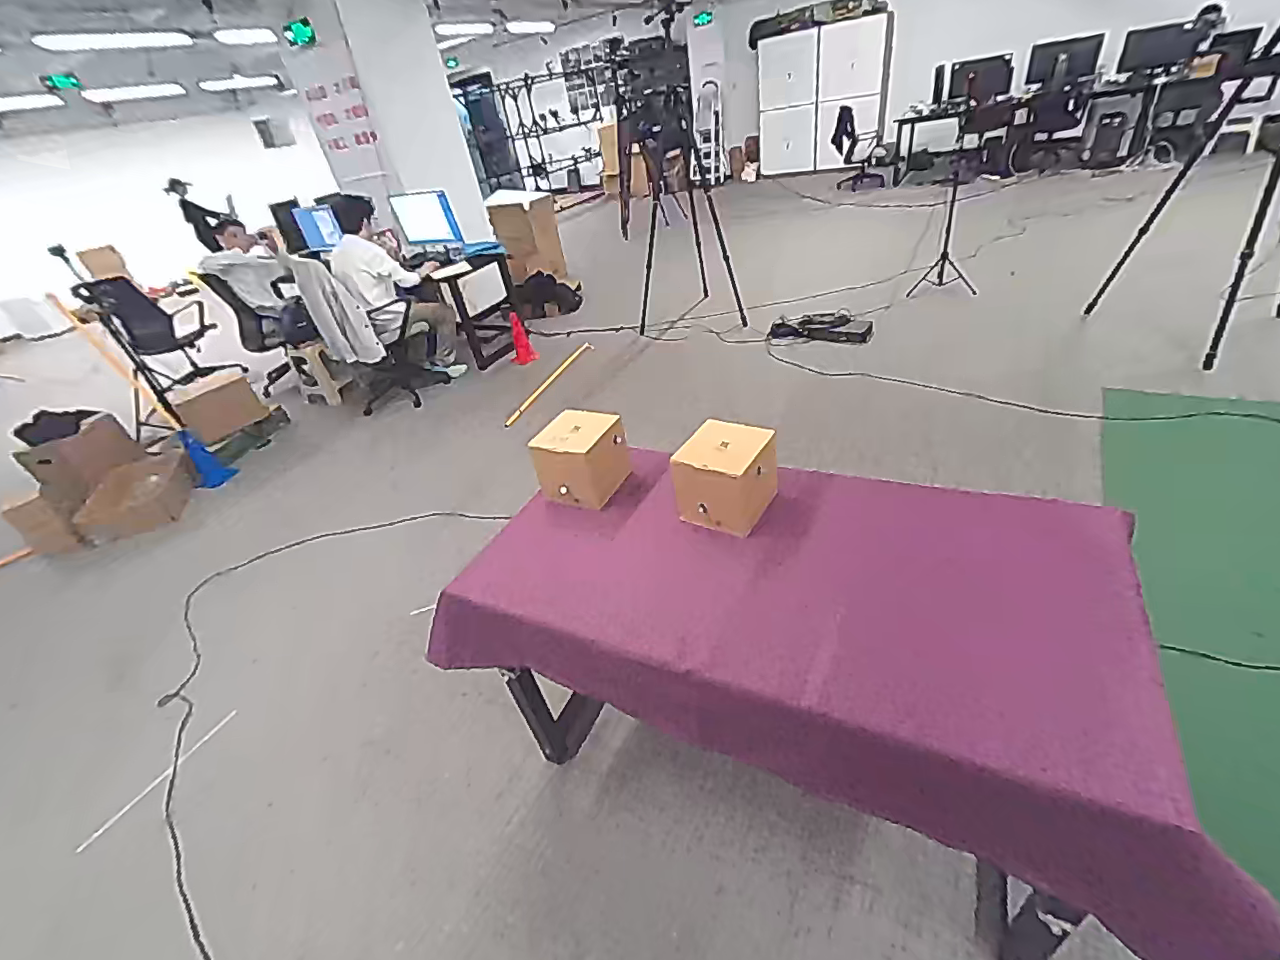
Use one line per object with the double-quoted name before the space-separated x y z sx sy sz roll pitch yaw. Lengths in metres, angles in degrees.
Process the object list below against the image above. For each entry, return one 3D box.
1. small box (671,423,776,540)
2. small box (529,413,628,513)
"small box" 0.188 0.000 1.188 0.168 0.176 0.179 15 44 33
"small box" -0.143 -0.045 1.343 0.168 0.176 0.179 9 40 27
